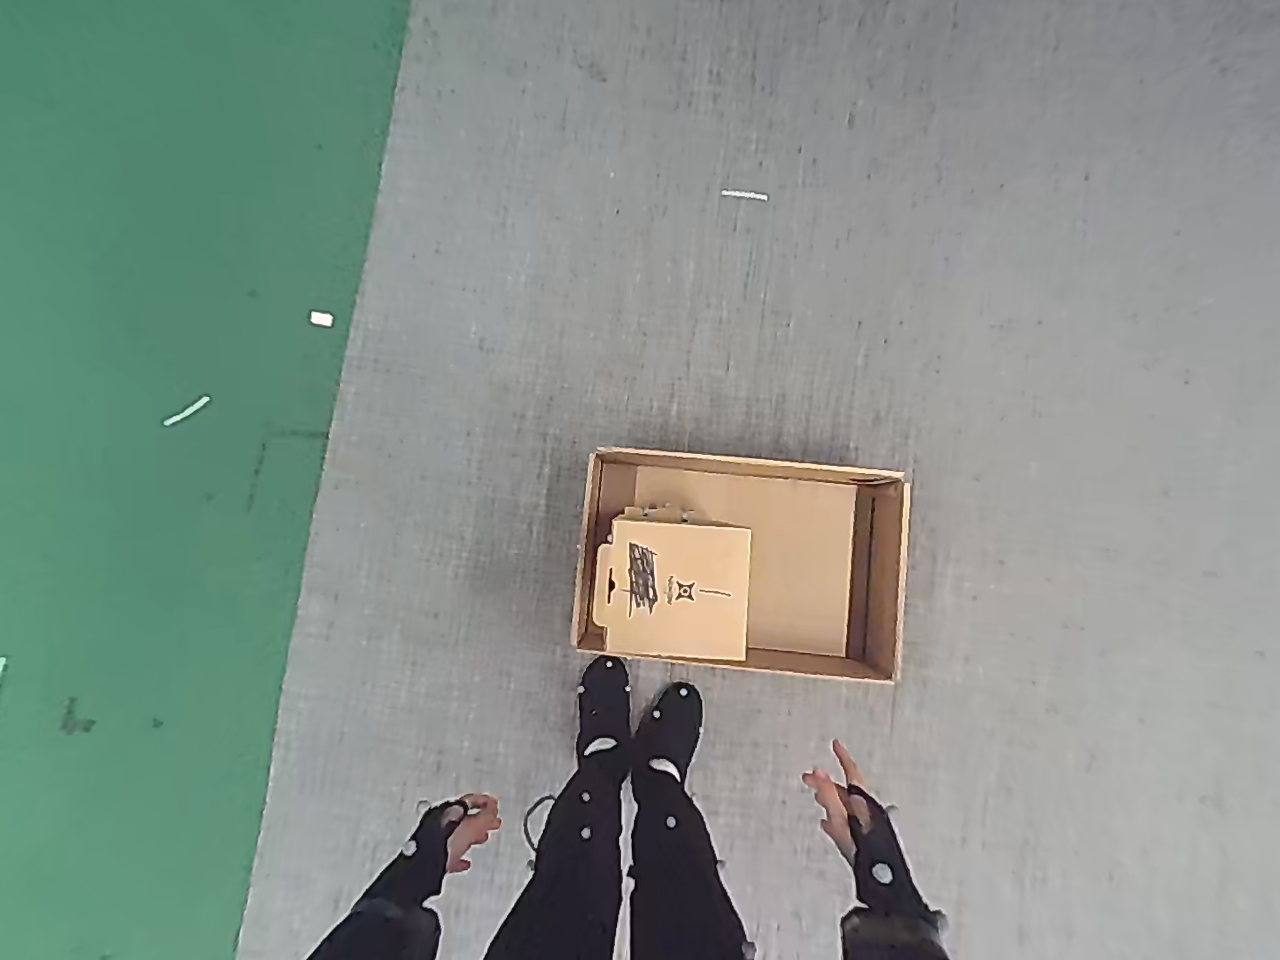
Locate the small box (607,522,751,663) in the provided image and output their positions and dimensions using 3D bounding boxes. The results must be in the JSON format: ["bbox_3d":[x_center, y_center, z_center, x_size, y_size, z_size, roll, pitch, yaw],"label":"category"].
[{"bbox_3d":[0.051,0.146,0.756,0.179,0.176,0.168,3,87,1],"label":"small box"}]

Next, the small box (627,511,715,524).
[{"bbox_3d":[0.057,0.154,1.082,0.168,0.176,0.179,2,85,1],"label":"small box"}]
